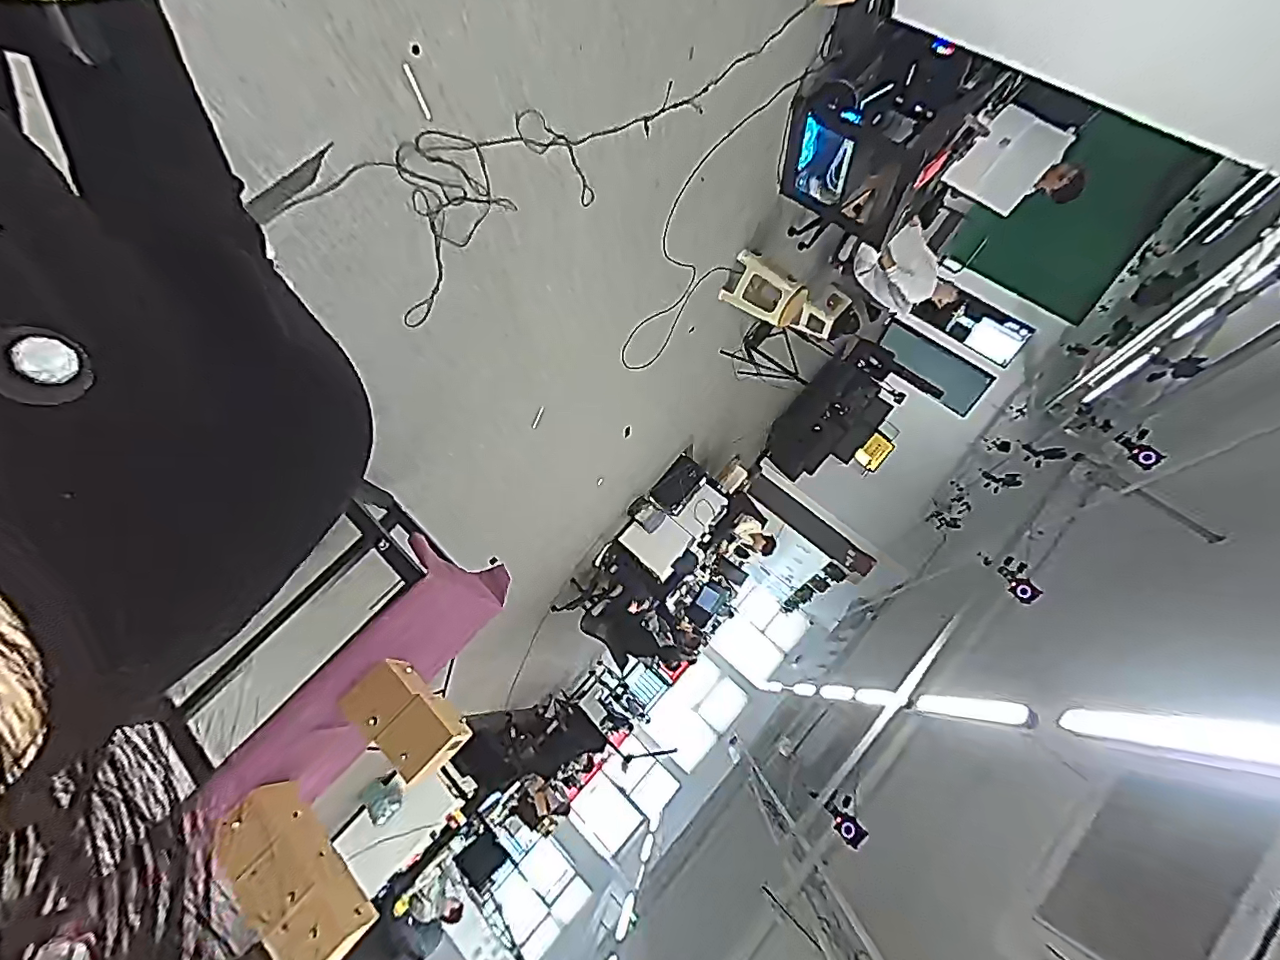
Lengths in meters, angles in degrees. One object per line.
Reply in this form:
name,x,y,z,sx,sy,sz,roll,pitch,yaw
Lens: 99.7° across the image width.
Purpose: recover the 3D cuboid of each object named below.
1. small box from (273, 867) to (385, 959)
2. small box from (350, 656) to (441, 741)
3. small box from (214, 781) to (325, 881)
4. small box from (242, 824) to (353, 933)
small box,-0.853,1.217,1.485,0.168,0.176,0.179,-46,162,-16
small box,-0.767,0.682,1.688,0.179,0.176,0.168,-46,162,-15
small box,-1.090,1.021,1.596,0.168,0.176,0.179,-46,161,-14
small box,-0.971,1.119,1.541,0.168,0.176,0.179,-45,162,-16
